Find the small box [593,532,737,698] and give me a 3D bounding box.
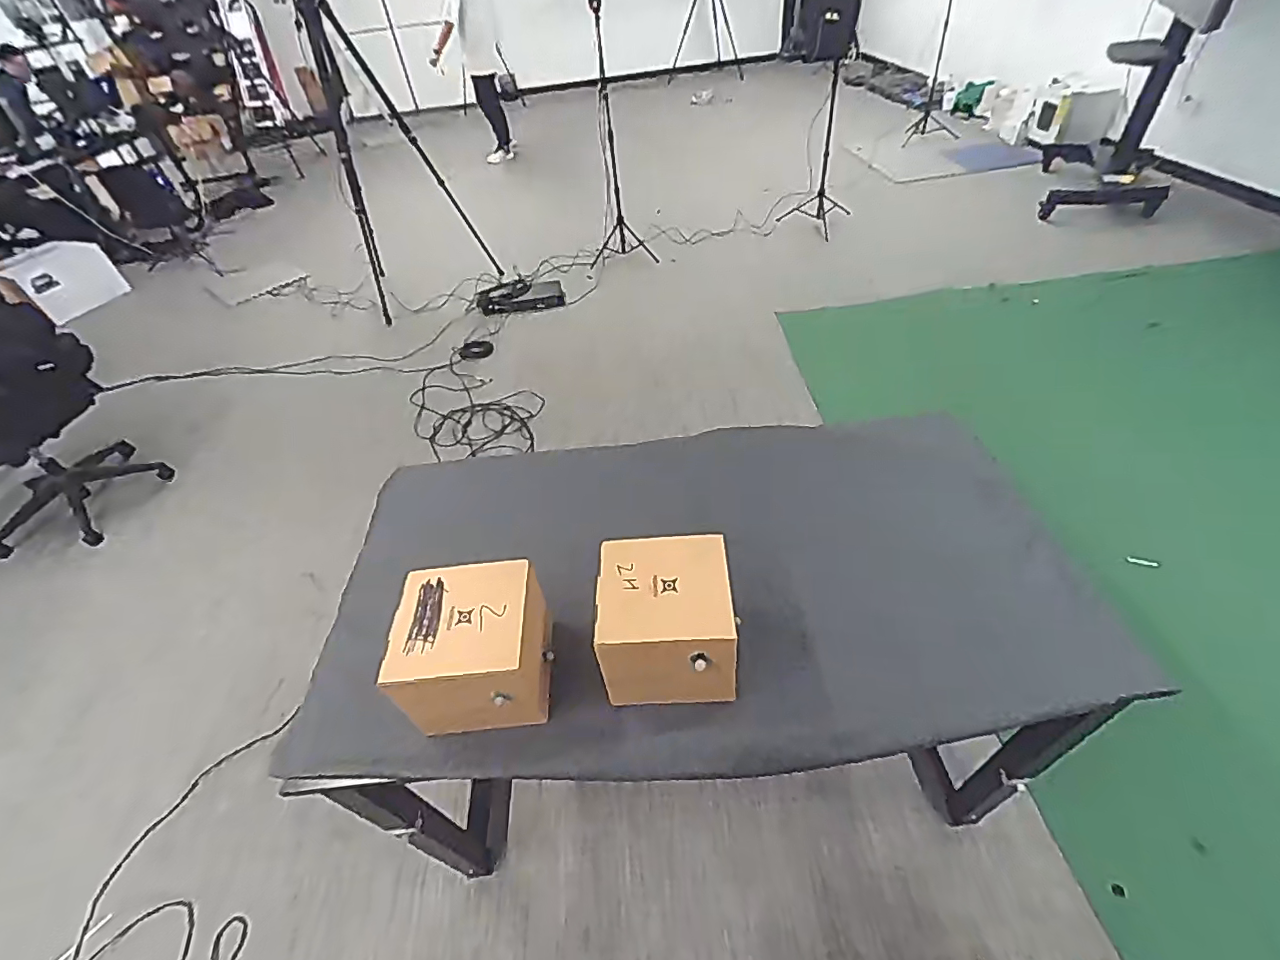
[{"bbox_3d":[0.039,0.191,0.760,0.179,0.176,0.168,-4,43,6],"label":"small box"}]
